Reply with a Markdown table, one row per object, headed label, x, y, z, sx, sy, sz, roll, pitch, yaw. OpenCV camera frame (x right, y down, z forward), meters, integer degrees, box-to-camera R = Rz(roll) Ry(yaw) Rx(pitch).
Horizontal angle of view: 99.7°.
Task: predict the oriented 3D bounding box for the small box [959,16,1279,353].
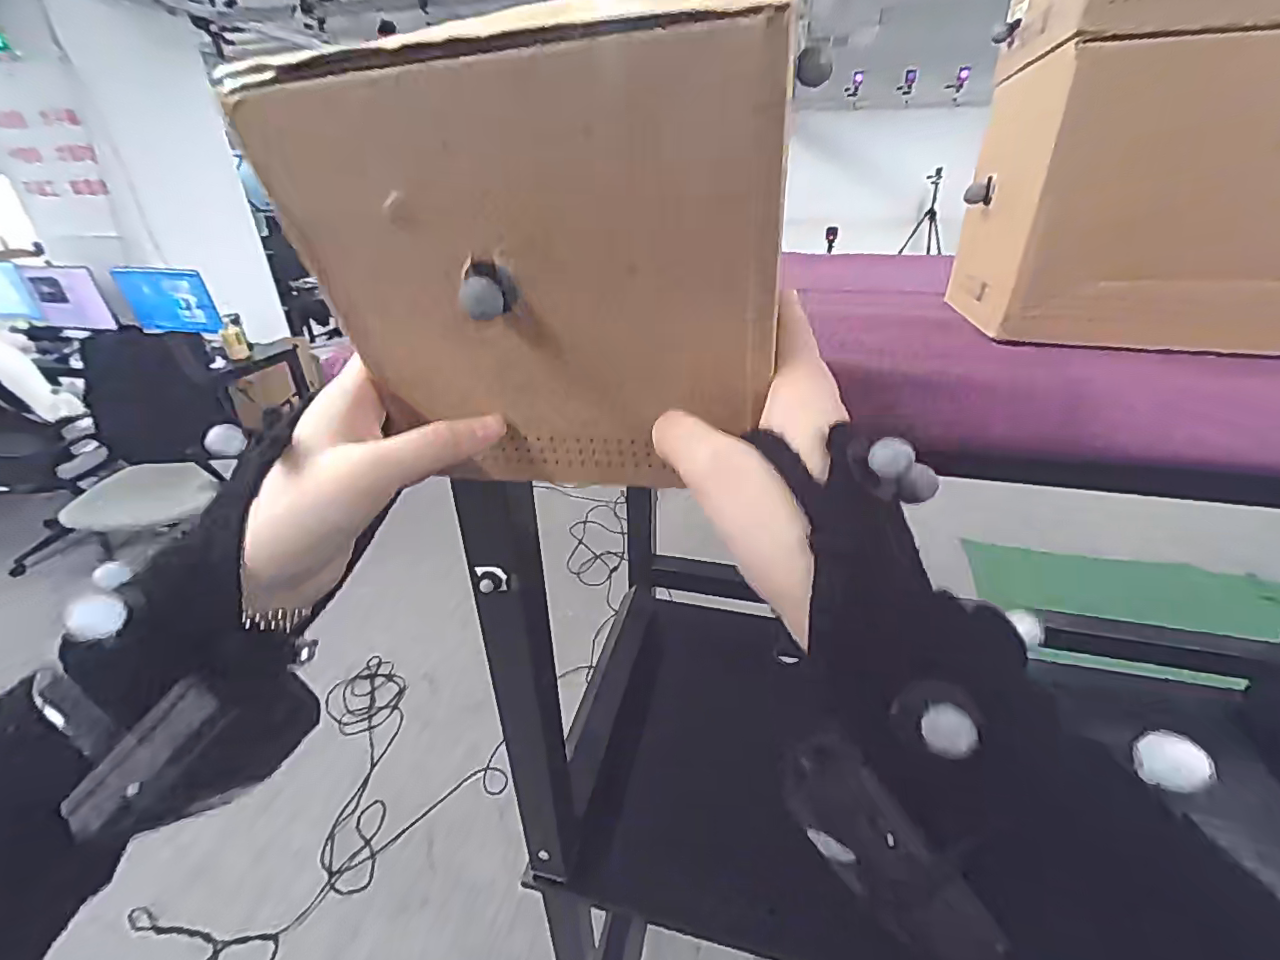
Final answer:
| label | x | y | z | sx | sy | sz | roll | pitch | yaw |
| --- | --- | --- | --- | --- | --- | --- | --- | --- | --- |
| small box | 0.345 | -0.191 | 0.376 | 0.179 | 0.176 | 0.168 | 7 | 29 | 14 |

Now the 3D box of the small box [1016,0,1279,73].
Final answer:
| label | x | y | z | sx | sy | sz | roll | pitch | yaw |
| --- | --- | --- | --- | --- | --- | --- | --- | --- | --- |
| small box | 0.345 | -0.338 | 0.304 | 0.179 | 0.176 | 0.168 | 8 | 29 | 13 |

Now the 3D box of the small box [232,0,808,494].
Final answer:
| label | x | y | z | sx | sy | sz | roll | pitch | yaw |
| --- | --- | --- | --- | --- | --- | --- | --- | --- | --- |
| small box | -0.017 | -0.108 | 0.255 | 0.179 | 0.176 | 0.168 | 2 | 46 | 13 |
